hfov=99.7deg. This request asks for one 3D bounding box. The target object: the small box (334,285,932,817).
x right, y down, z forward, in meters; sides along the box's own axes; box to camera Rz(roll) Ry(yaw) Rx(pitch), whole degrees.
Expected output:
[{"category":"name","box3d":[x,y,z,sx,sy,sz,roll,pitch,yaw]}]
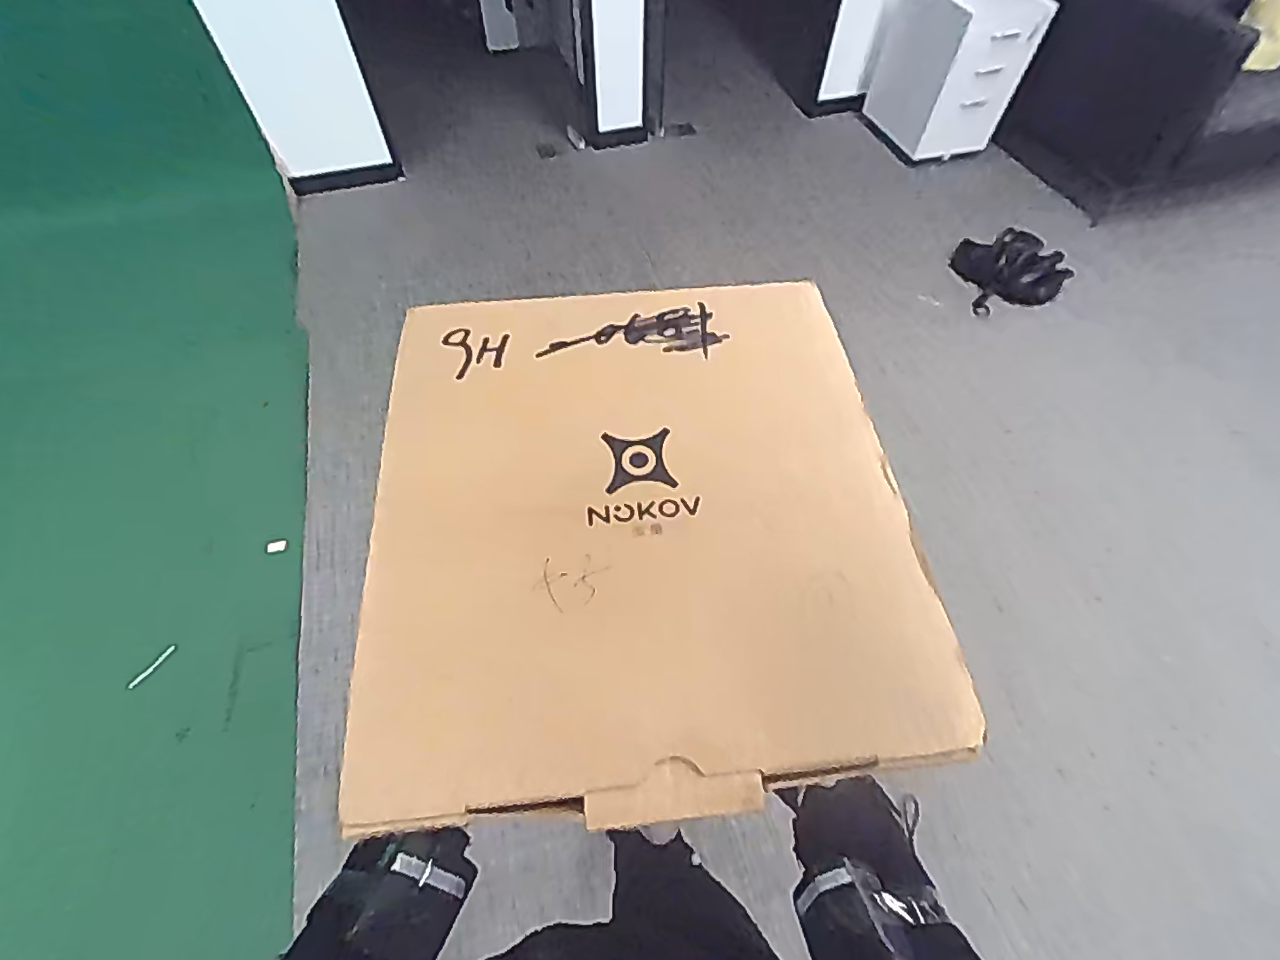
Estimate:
[{"category":"small box","box3d":[-0.008,0.039,0.252,0.168,0.176,0.179,-5,63,-4]}]
